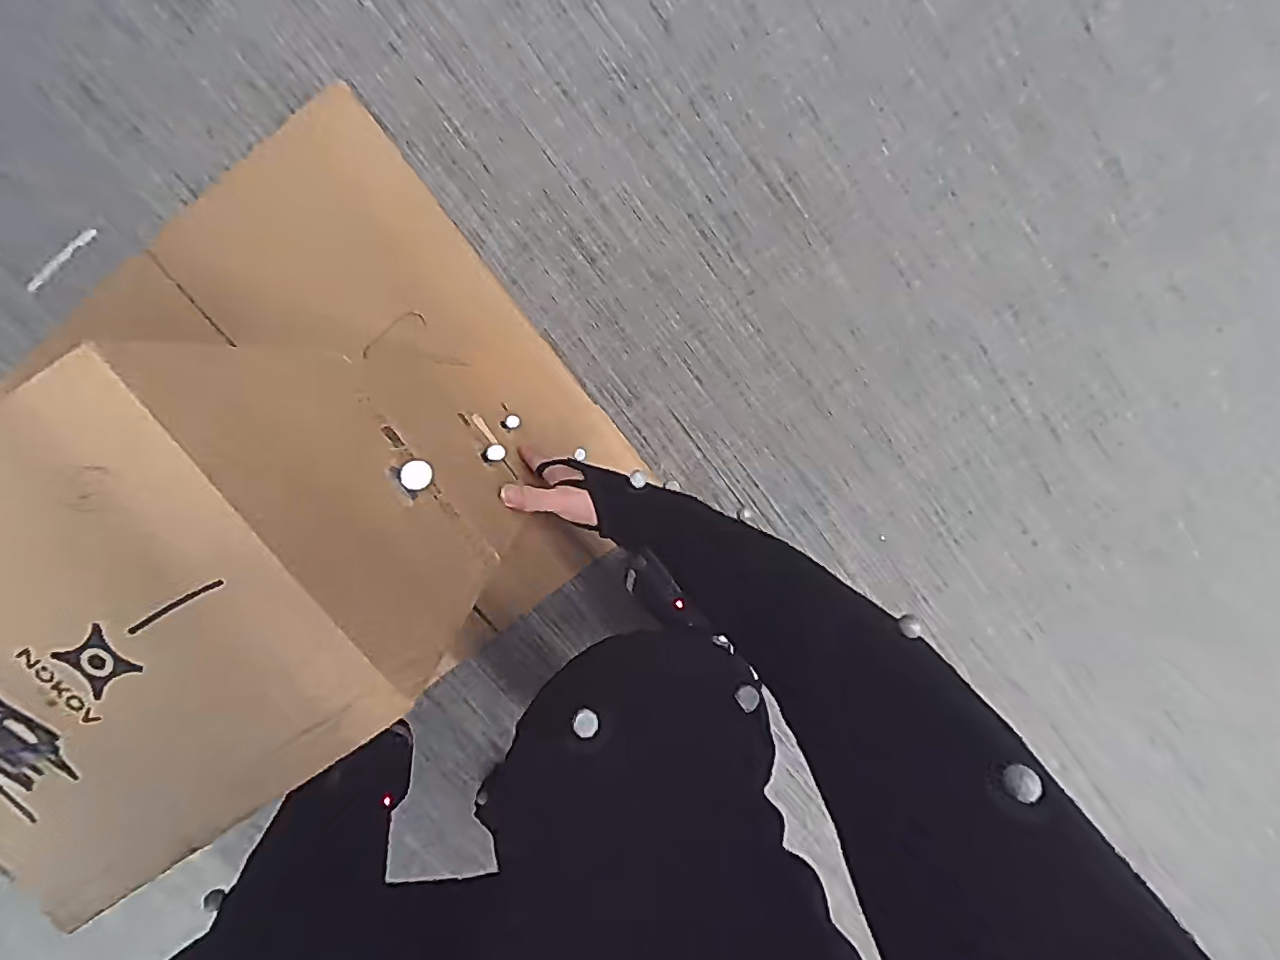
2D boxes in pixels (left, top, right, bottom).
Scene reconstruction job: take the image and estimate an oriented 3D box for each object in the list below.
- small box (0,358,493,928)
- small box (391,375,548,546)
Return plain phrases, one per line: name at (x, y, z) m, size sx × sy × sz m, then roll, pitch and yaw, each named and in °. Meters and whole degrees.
small box at (-0.203, 0.055, 0.276) m, size 0.179 × 0.176 × 0.168 m, roll -33°, pitch 102°, yaw 4°
small box at (-0.216, -0.004, 0.599) m, size 0.179 × 0.176 × 0.168 m, roll -34°, pitch 101°, yaw 4°
